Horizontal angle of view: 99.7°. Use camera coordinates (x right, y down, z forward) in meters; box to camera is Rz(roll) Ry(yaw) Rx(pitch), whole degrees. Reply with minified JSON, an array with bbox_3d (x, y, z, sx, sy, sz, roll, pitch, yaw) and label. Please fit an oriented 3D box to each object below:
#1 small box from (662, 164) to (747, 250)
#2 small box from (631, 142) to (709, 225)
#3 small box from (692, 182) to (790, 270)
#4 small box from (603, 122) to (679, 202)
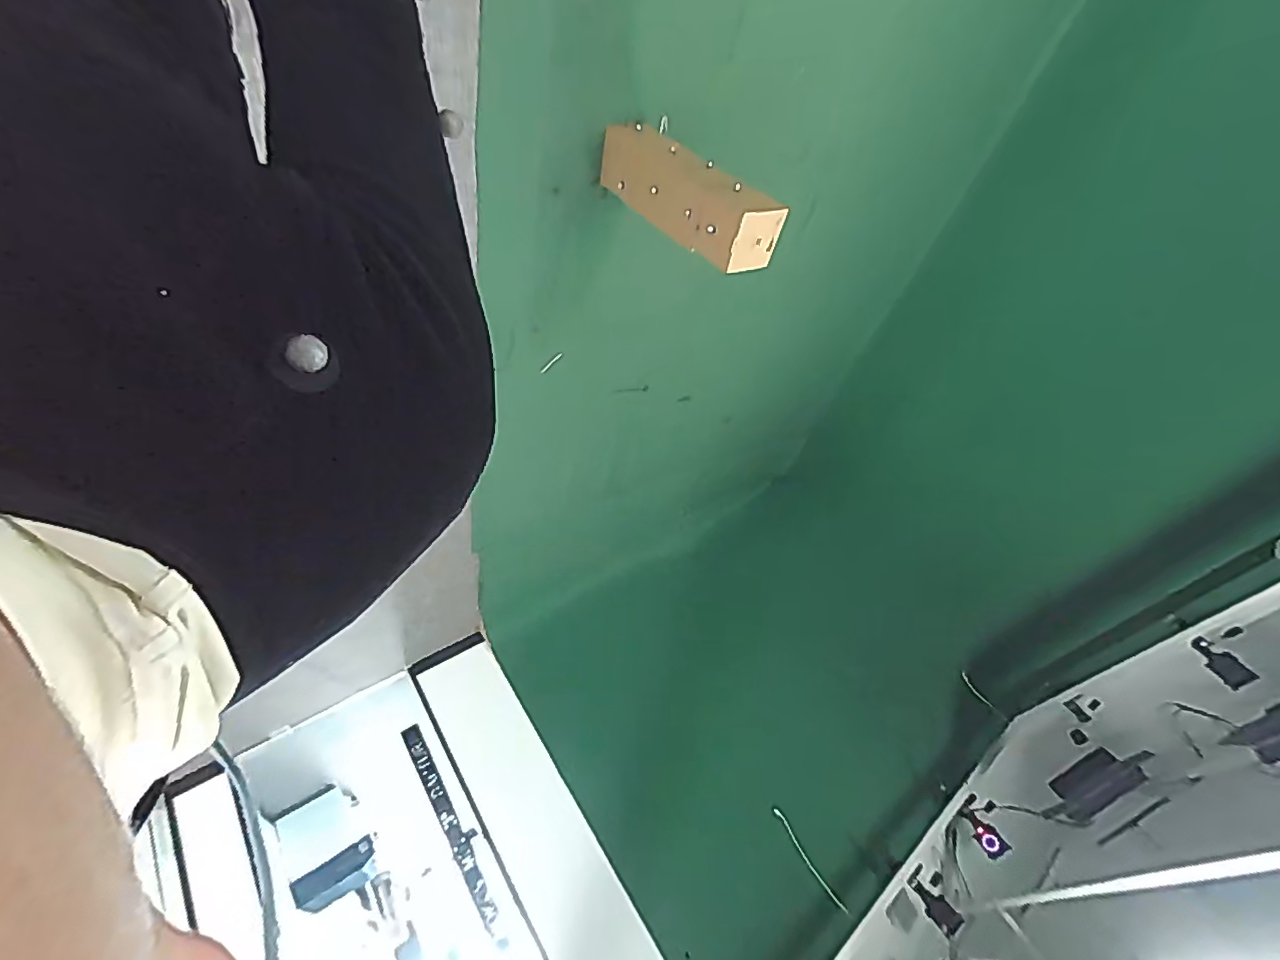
[{"bbox_3d":[0.184,-0.810,1.592,0.168,0.176,0.179,-23,148,-29],"label":"small box"},{"bbox_3d":[0.090,-0.918,1.673,0.168,0.176,0.179,-22,147,-31],"label":"small box"},{"bbox_3d":[0.272,-0.706,1.500,0.179,0.176,0.168,-20,146,-31],"label":"small box"},{"bbox_3d":[-0.003,-1.028,1.746,0.168,0.176,0.179,-24,149,-29],"label":"small box"}]
